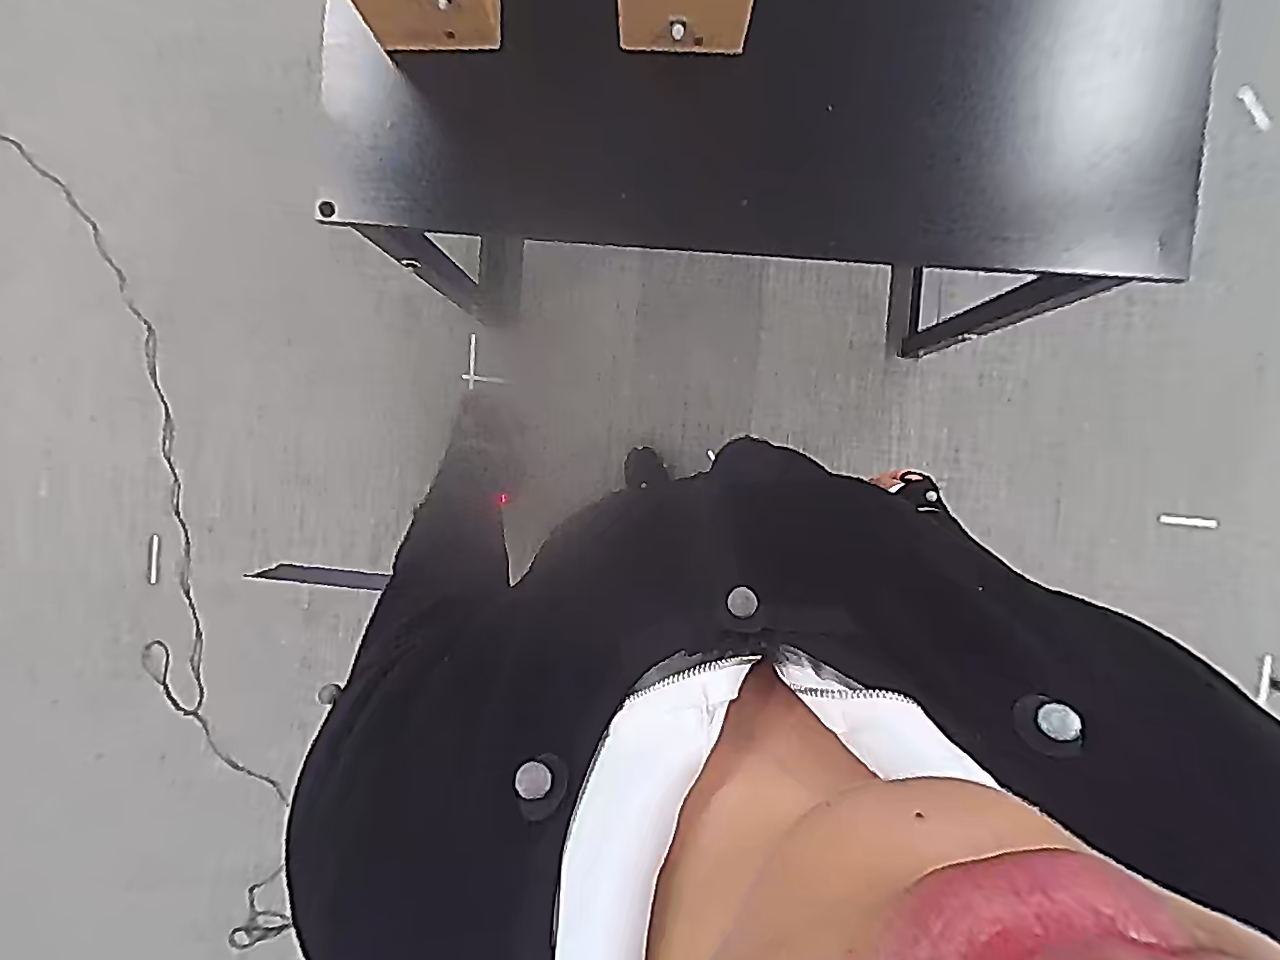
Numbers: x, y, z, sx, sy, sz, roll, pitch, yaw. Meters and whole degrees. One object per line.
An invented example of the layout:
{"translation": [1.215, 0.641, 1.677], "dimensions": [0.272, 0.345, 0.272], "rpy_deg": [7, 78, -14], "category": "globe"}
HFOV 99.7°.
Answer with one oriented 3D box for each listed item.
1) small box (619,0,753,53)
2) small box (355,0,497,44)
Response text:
{"translation": [0.060, -0.662, 0.644], "dimensions": [0.168, 0.176, 0.179], "rpy_deg": [3, 94, 1], "category": "small box"}
{"translation": [-0.273, -0.670, 0.650], "dimensions": [0.168, 0.176, 0.179], "rpy_deg": [0, 92, 0], "category": "small box"}
